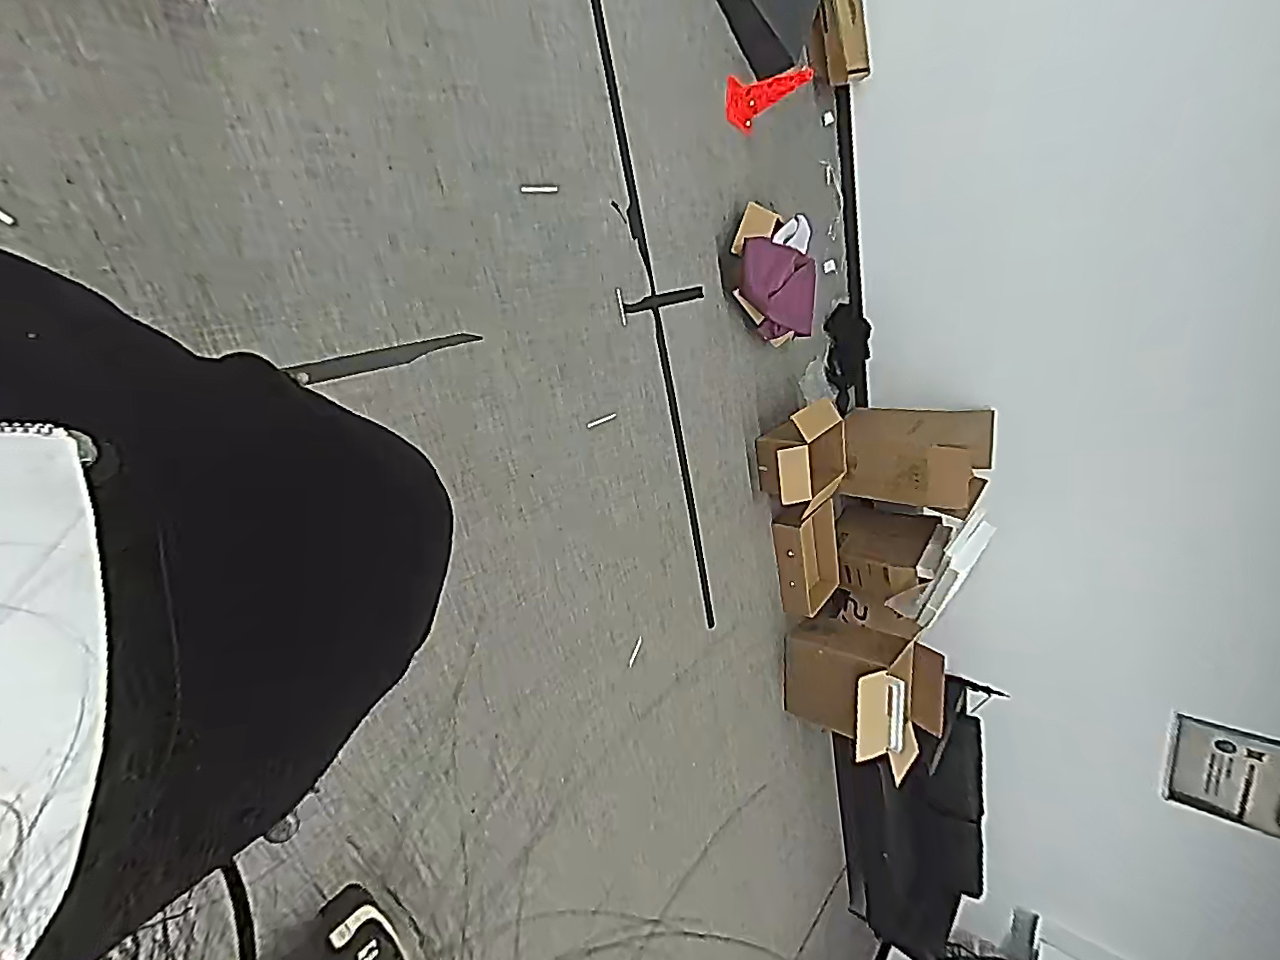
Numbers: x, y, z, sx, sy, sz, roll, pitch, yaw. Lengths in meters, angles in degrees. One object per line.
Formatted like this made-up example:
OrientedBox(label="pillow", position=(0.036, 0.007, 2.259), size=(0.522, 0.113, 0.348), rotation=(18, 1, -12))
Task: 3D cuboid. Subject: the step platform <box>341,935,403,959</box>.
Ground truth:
OrientedBox(label="step platform", position=(-0.794, 1.394, 1.152), size=(0.684, 0.204, 0.286), rotation=(-31, 118, -40))
